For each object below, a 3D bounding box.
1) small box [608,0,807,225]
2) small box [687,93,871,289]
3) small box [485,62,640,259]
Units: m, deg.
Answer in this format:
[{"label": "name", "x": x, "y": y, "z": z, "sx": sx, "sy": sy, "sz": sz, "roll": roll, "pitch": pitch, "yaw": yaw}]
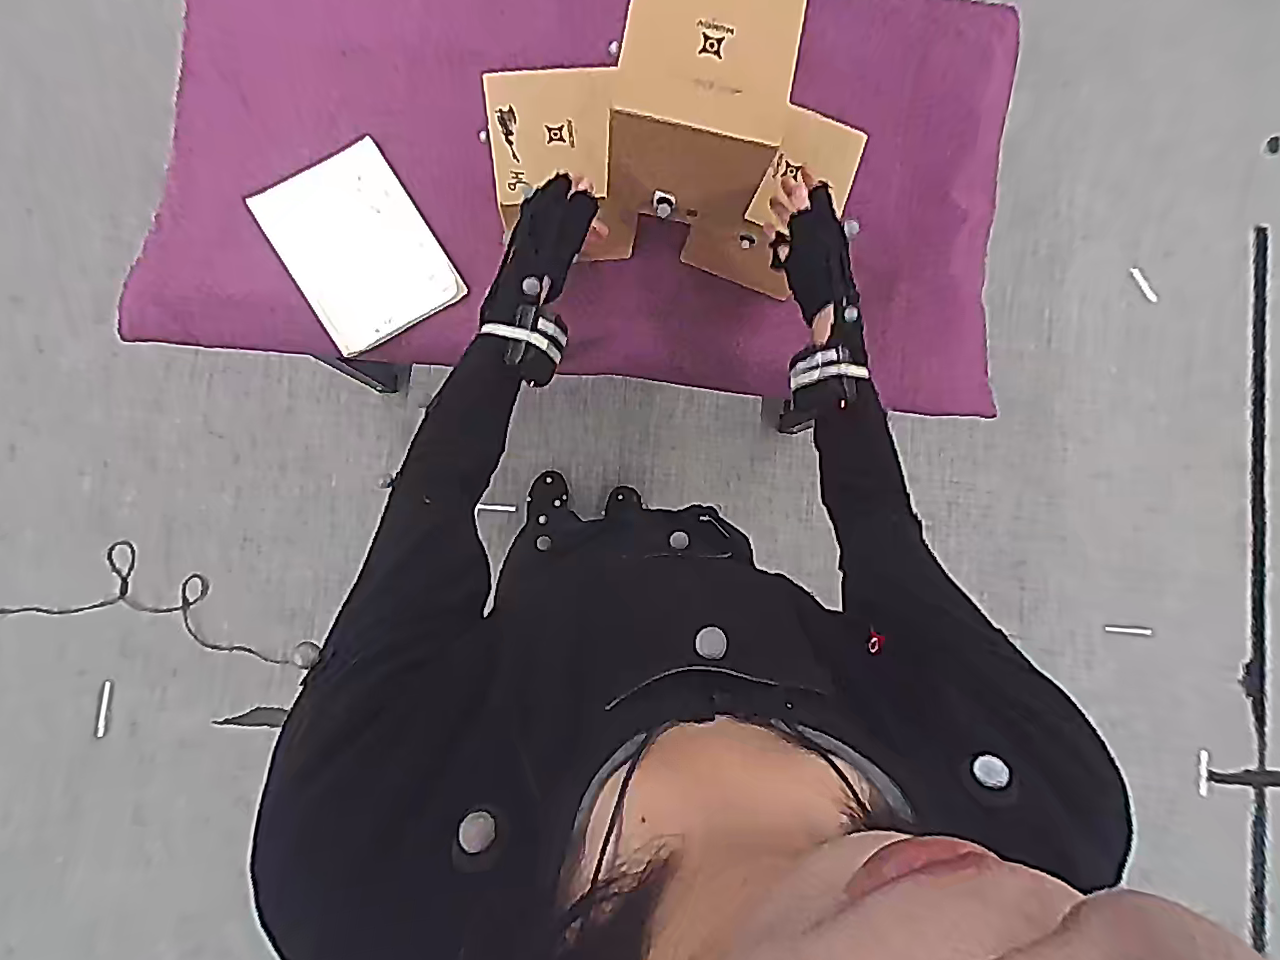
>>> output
[{"label": "small box", "x": 0.060, "y": -0.411, "z": 0.576, "sx": 0.168, "sy": 0.176, "sz": 0.179, "roll": 11, "pitch": 86, "yaw": -3}, {"label": "small box", "x": 0.177, "y": -0.391, "z": 0.748, "sx": 0.179, "sy": 0.176, "sz": 0.168, "roll": 20, "pitch": 85, "yaw": -3}, {"label": "small box", "x": -0.100, "y": -0.416, "z": 0.726, "sx": 0.179, "sy": 0.176, "sz": 0.168, "roll": -7, "pitch": 87, "yaw": -7}]
